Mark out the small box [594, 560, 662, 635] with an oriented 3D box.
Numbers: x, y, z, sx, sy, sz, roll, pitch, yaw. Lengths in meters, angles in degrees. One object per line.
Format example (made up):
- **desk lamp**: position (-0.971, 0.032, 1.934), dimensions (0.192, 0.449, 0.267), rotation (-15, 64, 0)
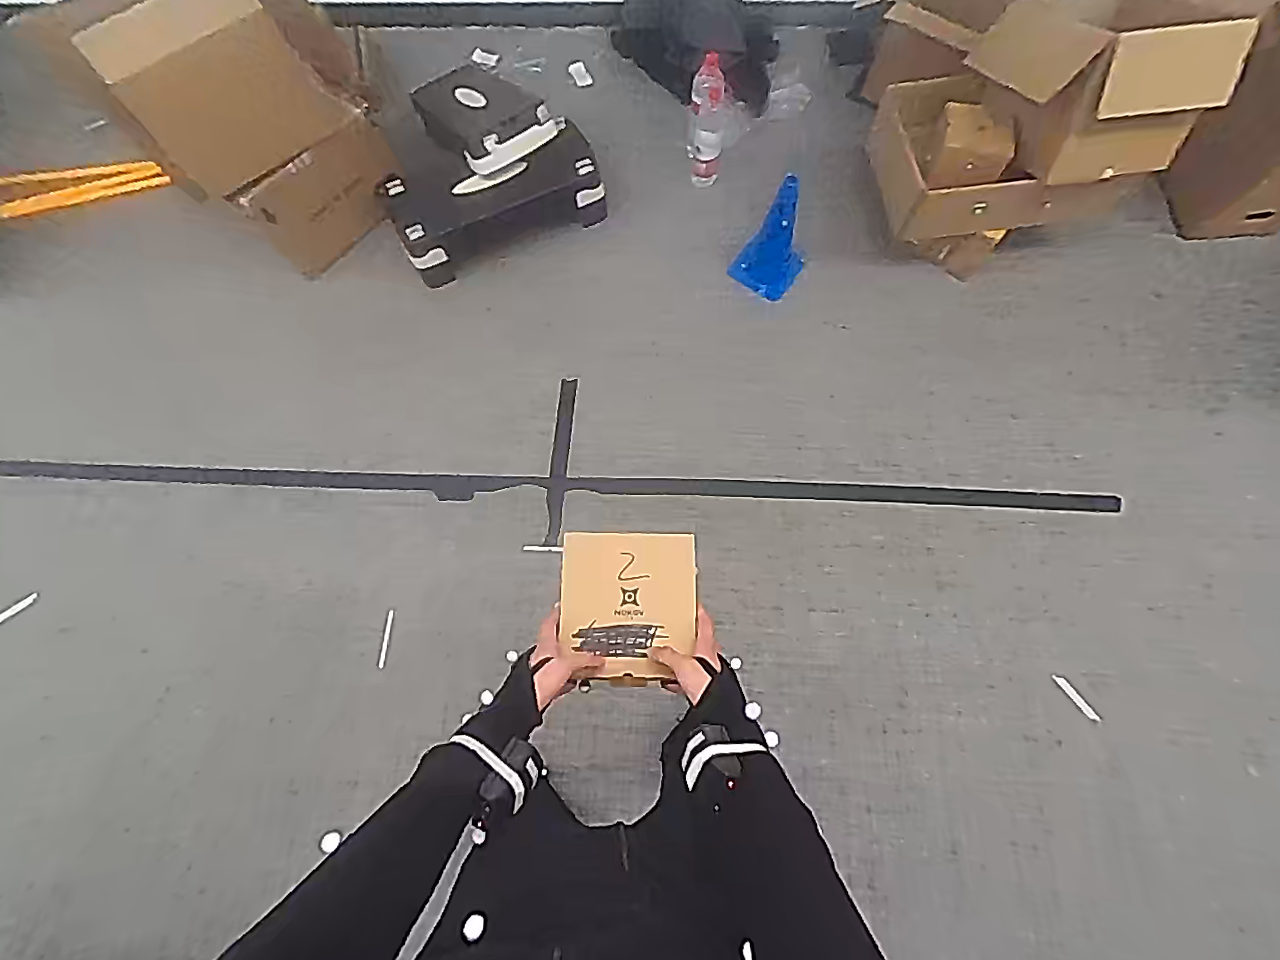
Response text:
- **small box**: position (-0.026, 0.309, 1.405), dimensions (0.168, 0.176, 0.179), rotation (0, 73, 2)
